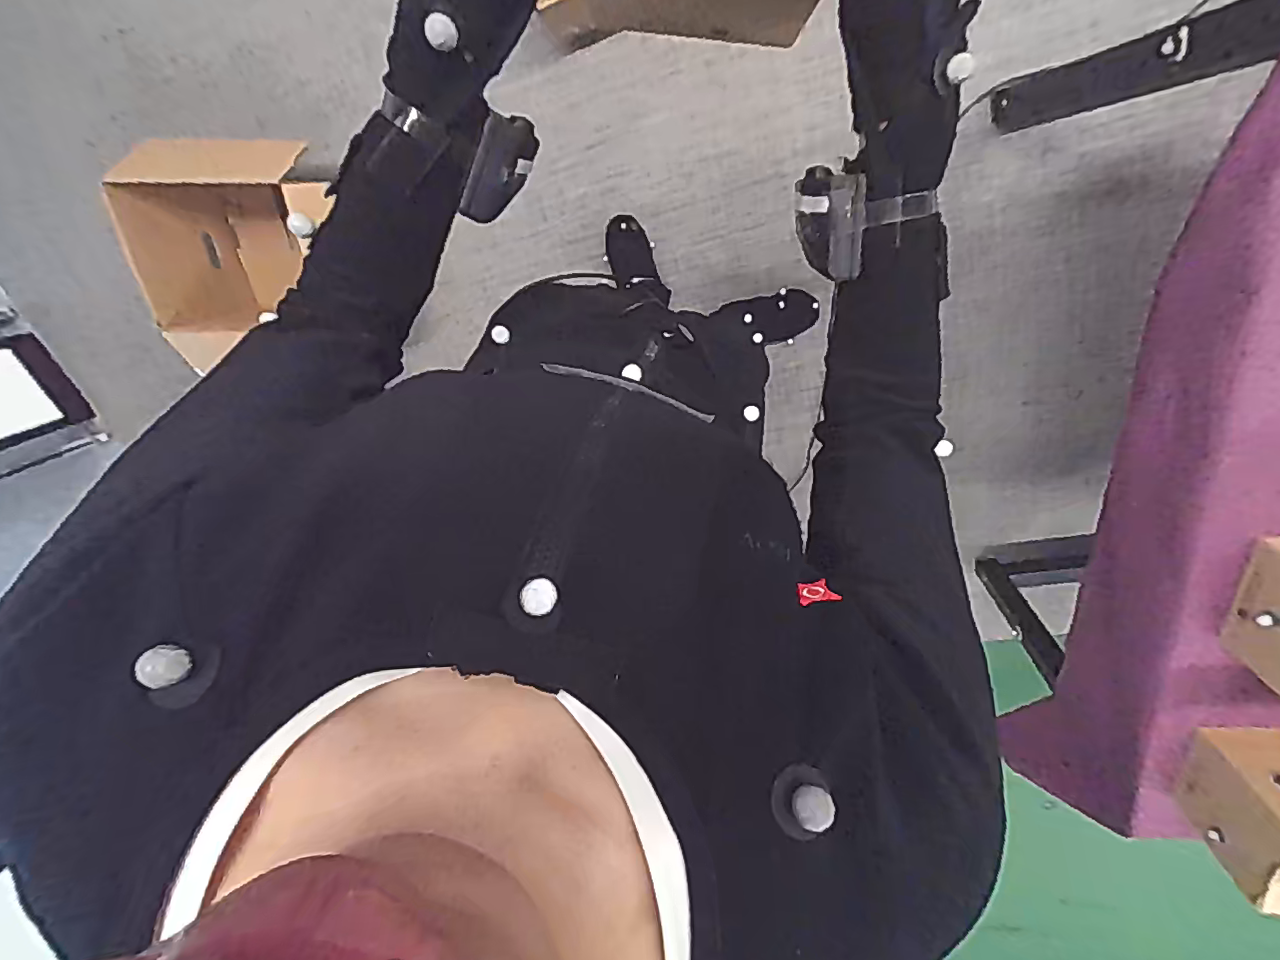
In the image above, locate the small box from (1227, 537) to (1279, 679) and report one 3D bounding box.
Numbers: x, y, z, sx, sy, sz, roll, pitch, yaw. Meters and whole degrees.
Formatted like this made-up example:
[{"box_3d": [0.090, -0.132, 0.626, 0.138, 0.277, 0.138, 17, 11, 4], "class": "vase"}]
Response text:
[{"box_3d": [0.841, 0.164, 0.600, 0.179, 0.176, 0.168, -4, 117, 12], "class": "small box"}]
